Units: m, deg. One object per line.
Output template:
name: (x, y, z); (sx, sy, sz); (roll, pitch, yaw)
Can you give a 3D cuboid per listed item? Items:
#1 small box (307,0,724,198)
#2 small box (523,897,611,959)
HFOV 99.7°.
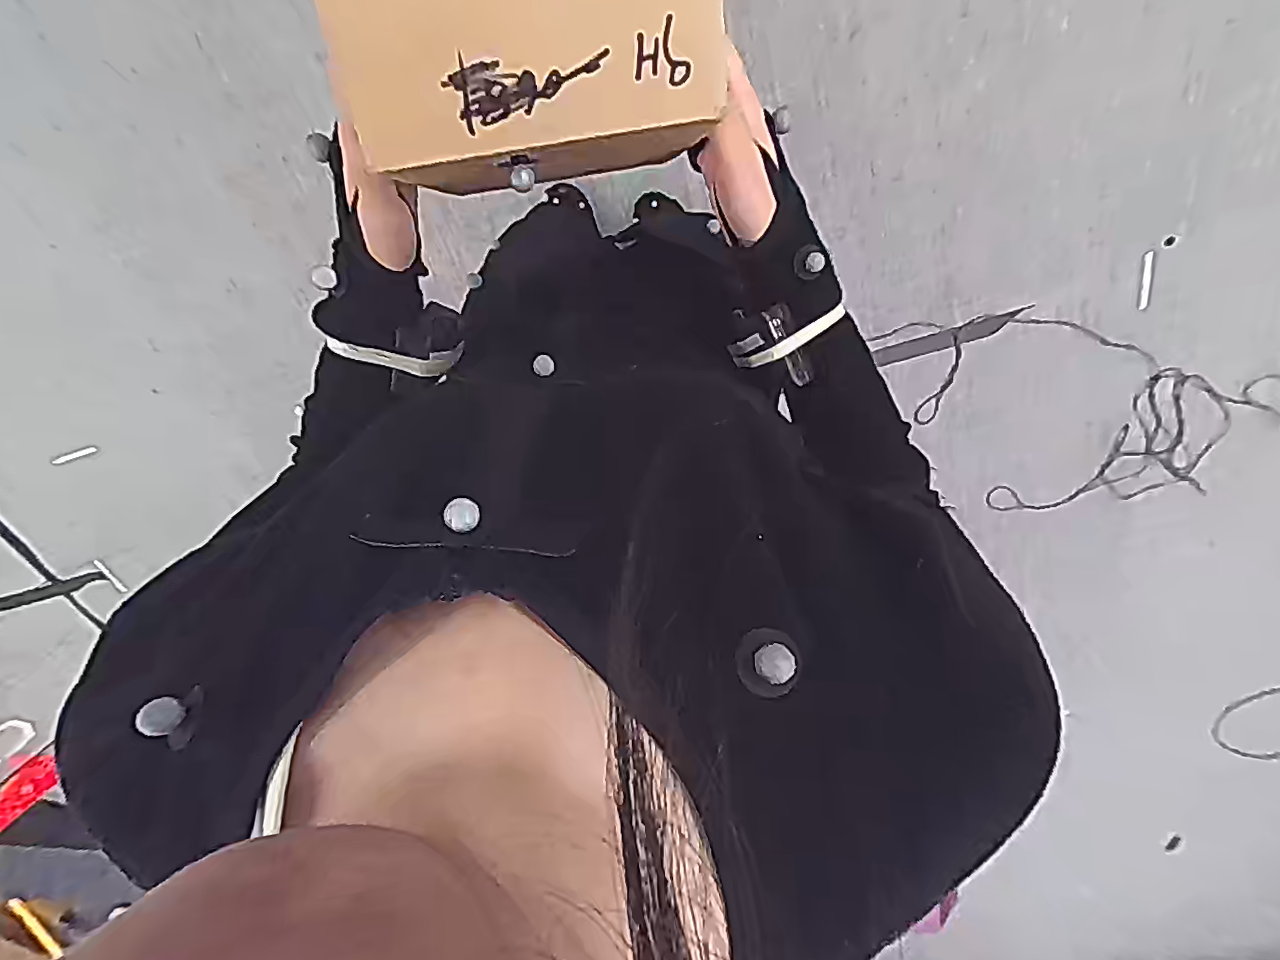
small box: (-0.061, -0.257, 0.276); (0.168, 0.176, 0.179); (-10, 115, 0)
small box: (-0.166, 1.117, 1.264); (0.168, 0.176, 0.179); (-11, 117, 5)
